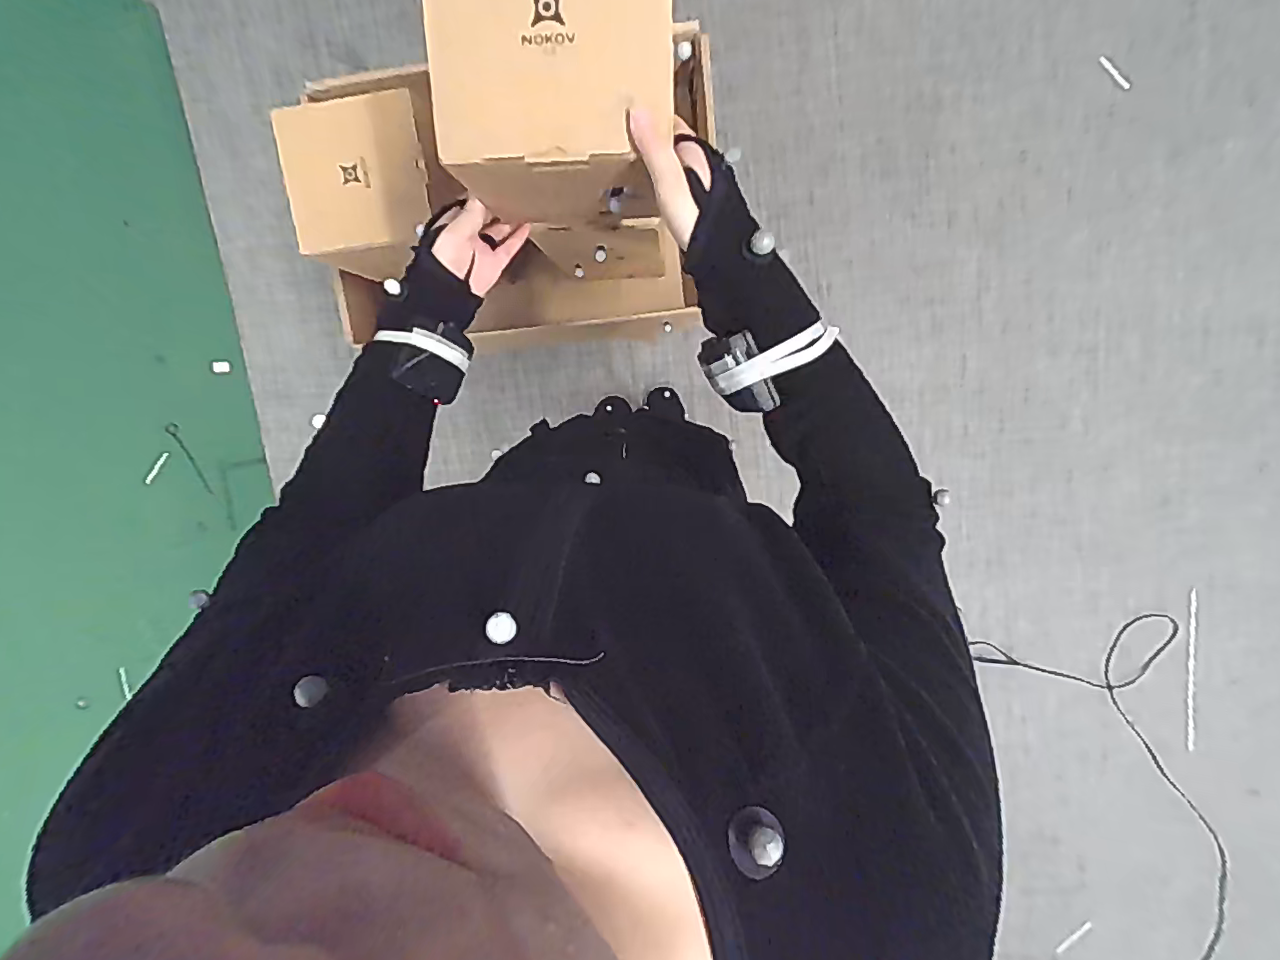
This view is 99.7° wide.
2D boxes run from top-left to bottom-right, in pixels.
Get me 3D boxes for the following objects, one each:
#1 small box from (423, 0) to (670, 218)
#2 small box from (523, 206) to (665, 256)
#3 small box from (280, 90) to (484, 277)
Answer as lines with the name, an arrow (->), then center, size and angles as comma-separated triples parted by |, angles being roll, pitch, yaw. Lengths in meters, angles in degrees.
small box -> -0.059, -0.322, 0.437 | 0.168, 0.176, 0.179 | 0, 102, 2
small box -> -0.052, -0.397, 0.705 | 0.168, 0.176, 0.179 | 1, 101, 4
small box -> -0.334, -0.383, 0.732 | 0.179, 0.176, 0.168 | -6, 99, 4
